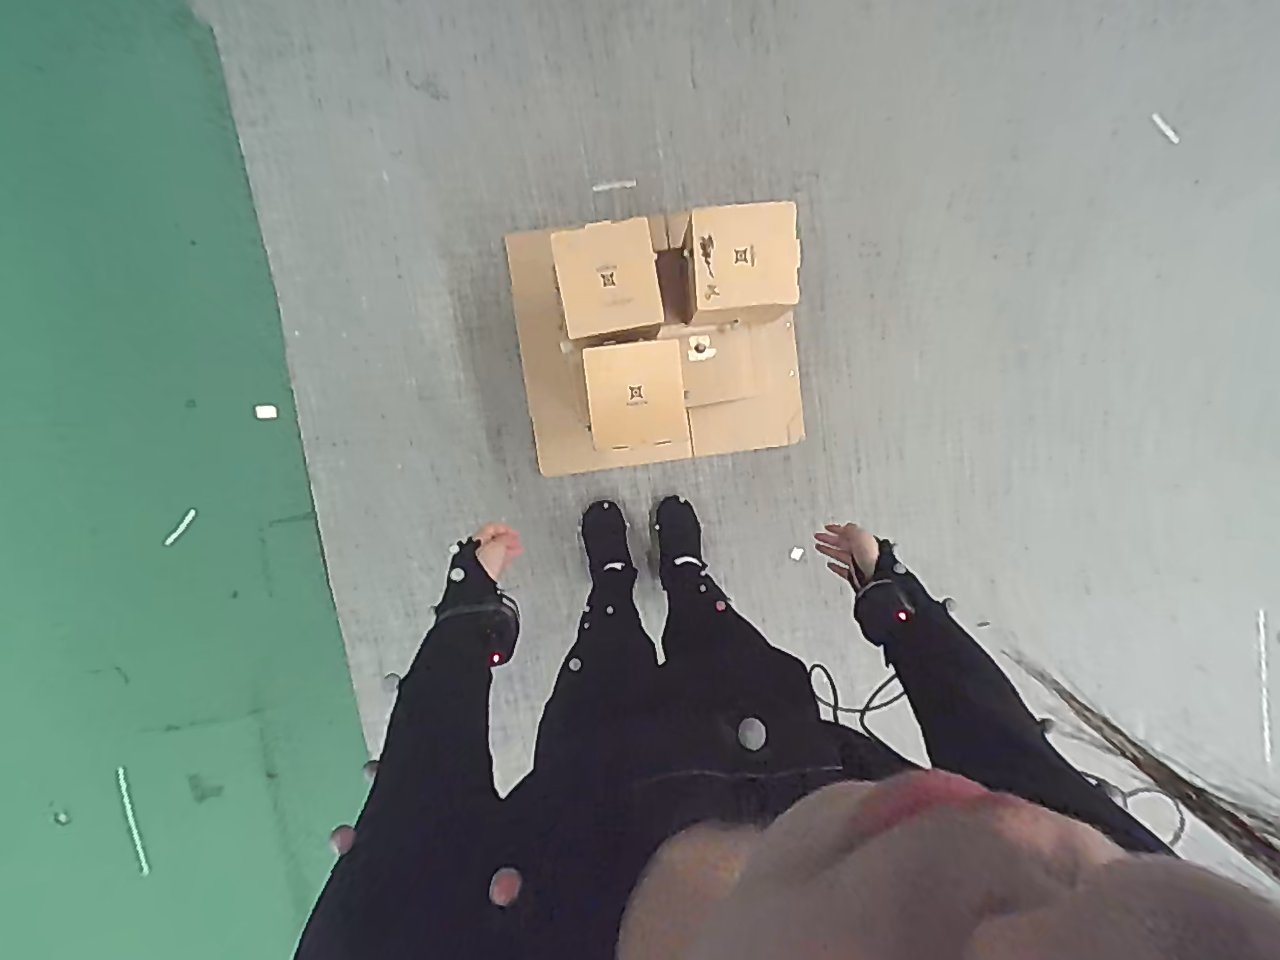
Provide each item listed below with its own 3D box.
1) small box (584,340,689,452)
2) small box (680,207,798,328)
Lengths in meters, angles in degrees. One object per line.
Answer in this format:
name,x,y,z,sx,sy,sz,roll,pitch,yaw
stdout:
small box,-0.010,-0.150,0.991,0.168,0.176,0.179,-7,98,-2
small box,0.172,-0.373,0.974,0.179,0.176,0.168,-4,96,-1
